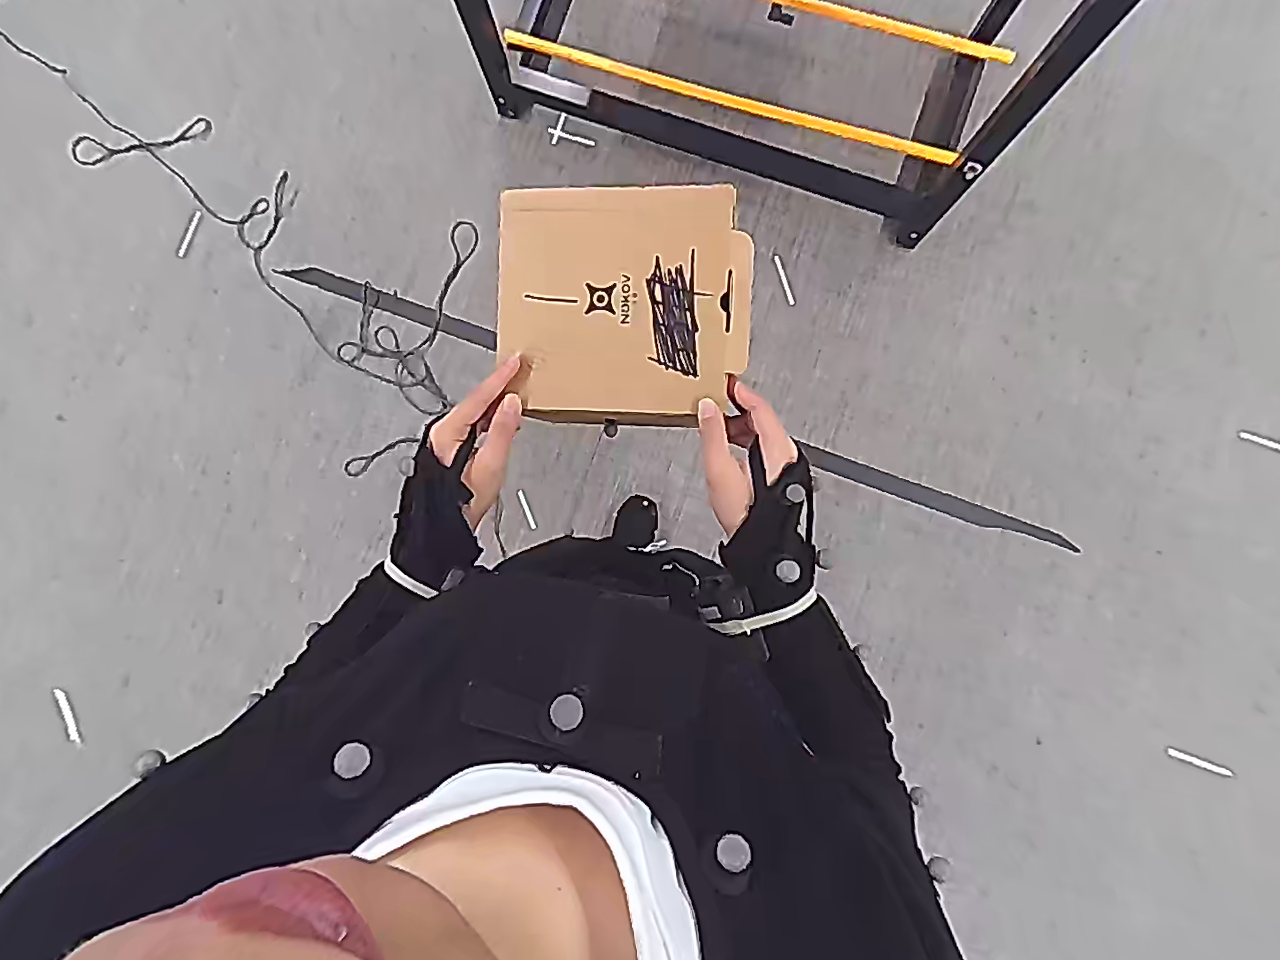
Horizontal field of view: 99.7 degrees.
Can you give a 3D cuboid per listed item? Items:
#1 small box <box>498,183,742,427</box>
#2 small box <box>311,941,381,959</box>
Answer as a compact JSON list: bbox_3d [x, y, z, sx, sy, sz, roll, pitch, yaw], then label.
[{"bbox_3d":[-0.010,-0.136,0.475,0.179,0.176,0.168,3,92,6],"label":"small box"},{"bbox_3d":[-0.676,1.161,1.159,0.168,0.176,0.179,17,86,3],"label":"small box"}]
